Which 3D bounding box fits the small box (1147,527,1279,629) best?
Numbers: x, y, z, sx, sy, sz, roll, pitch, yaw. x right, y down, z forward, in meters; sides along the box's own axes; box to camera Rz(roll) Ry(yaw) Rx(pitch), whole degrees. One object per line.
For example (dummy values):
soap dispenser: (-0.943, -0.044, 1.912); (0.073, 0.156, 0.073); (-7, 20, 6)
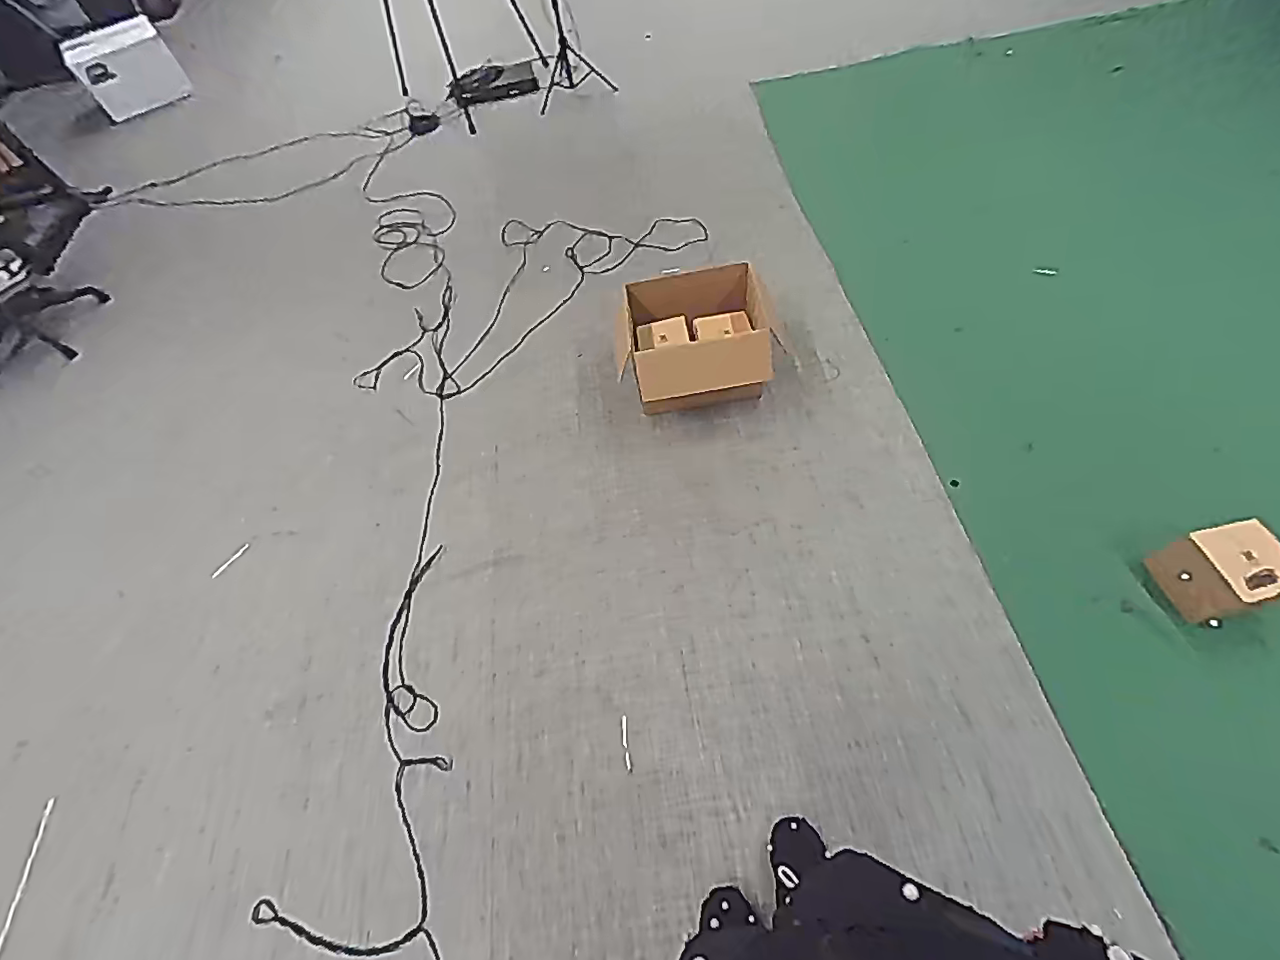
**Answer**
small box: (1.371, 0.238, 1.267); (0.168, 0.176, 0.179); (-12, 56, 1)
